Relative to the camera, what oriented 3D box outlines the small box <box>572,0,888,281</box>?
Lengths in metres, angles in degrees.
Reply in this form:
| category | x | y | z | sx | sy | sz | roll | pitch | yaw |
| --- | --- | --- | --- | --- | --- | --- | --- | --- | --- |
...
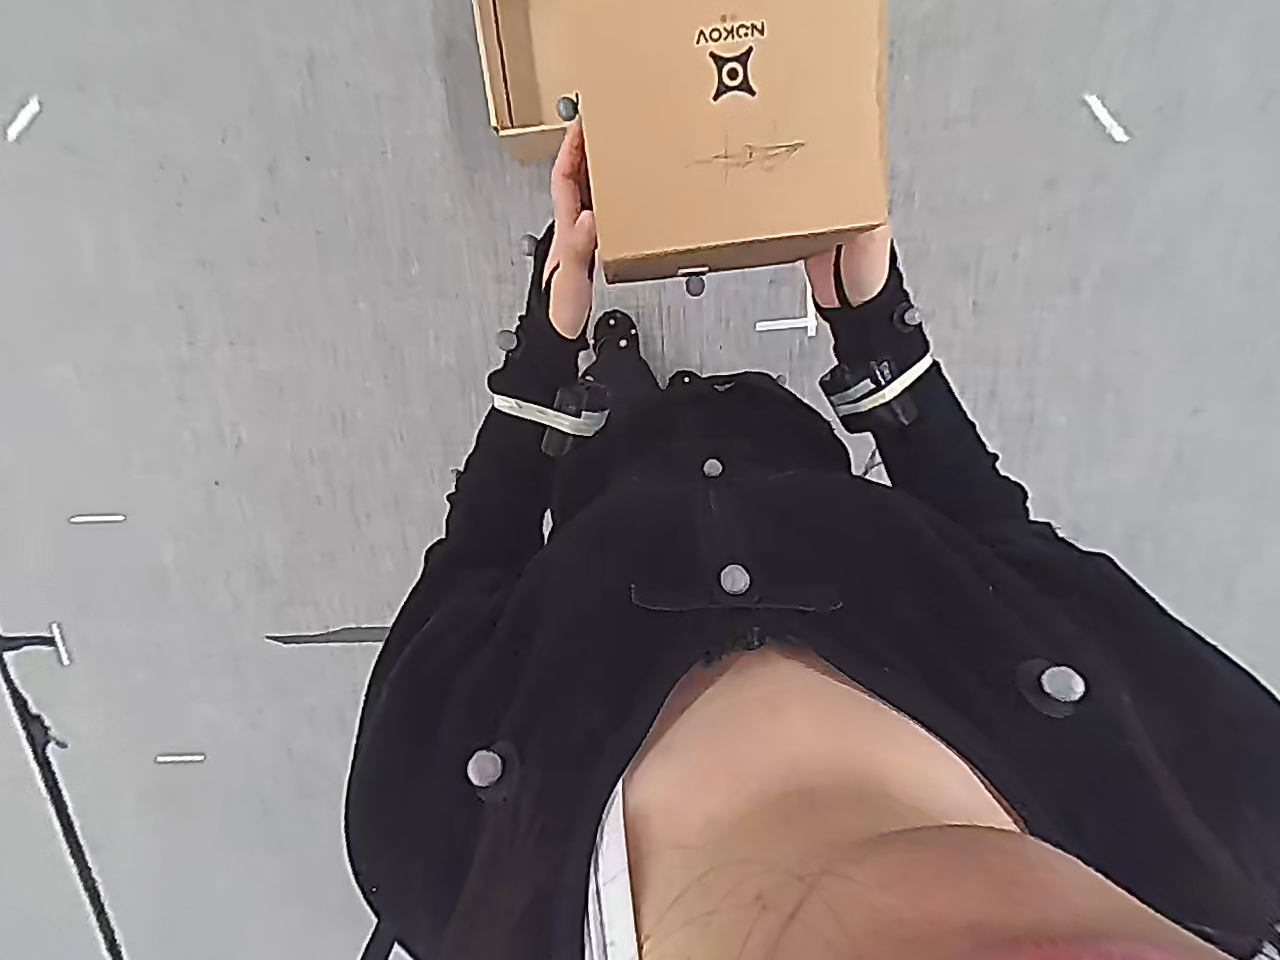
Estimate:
| category | x | y | z | sx | sy | sz | roll | pitch | yaw |
| --- | --- | --- | --- | --- | --- | --- | --- | --- | --- |
| small box | 0.046 | -0.242 | 0.363 | 0.168 | 0.176 | 0.179 | -7 | 106 | 0 |
